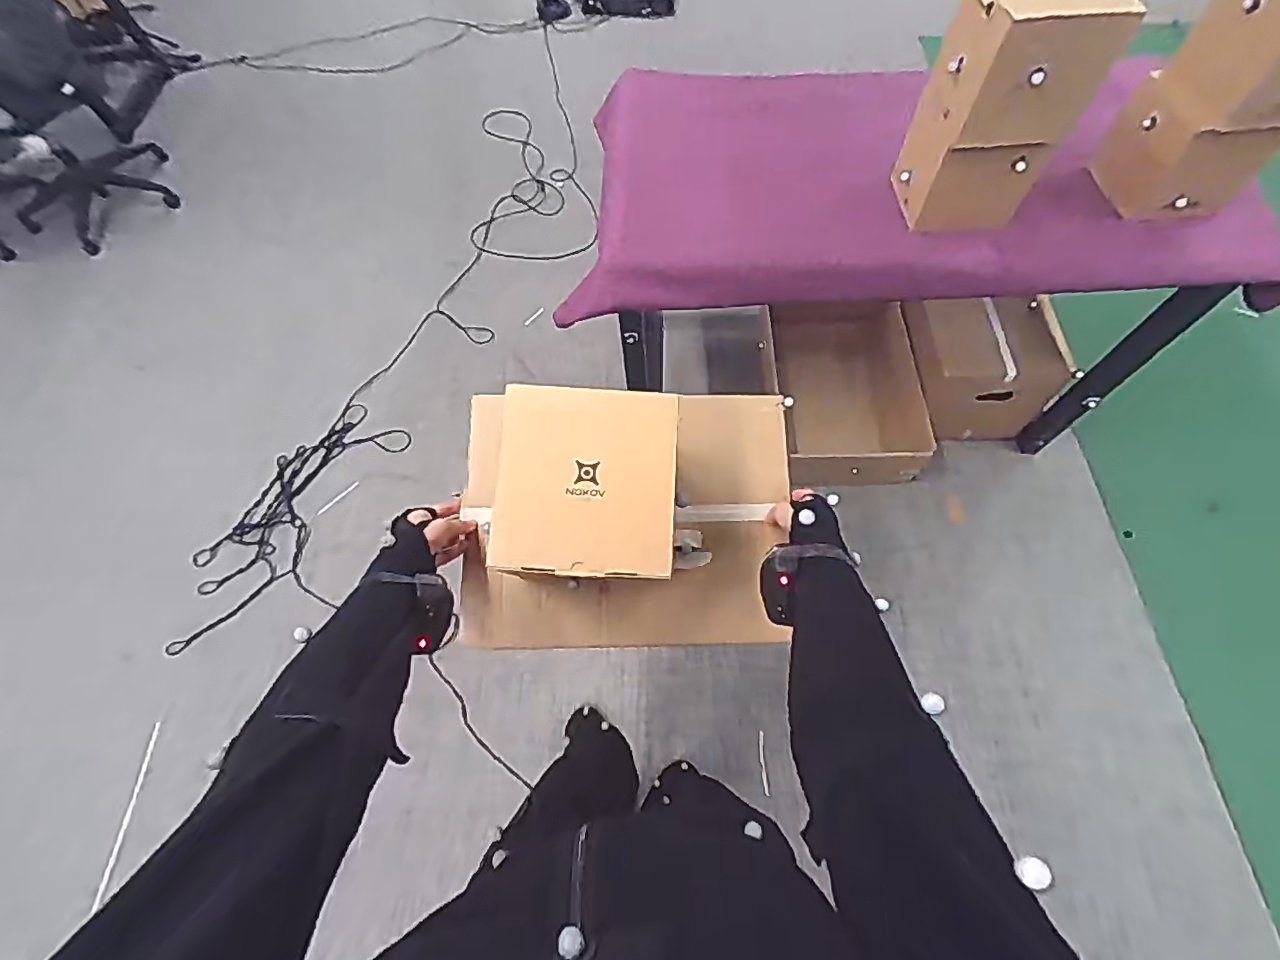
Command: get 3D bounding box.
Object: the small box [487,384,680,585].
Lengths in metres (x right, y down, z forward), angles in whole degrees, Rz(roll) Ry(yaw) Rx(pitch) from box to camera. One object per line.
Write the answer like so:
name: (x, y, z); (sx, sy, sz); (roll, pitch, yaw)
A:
small box: (-0.052, 0.016, 0.569); (0.168, 0.176, 0.179); (3, 78, -2)

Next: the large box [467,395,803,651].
large box: (-0.017, 0.075, 0.808); (0.408, 0.320, 0.320); (-1, 78, -3)

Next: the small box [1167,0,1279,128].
small box: (0.943, -0.650, 0.786); (0.168, 0.176, 0.179); (-4, 62, 4)

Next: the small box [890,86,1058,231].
small box: (0.572, -0.565, 0.954); (0.179, 0.176, 0.168); (-2, 61, 3)

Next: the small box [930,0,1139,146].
small box: (0.557, -0.625, 0.801); (0.179, 0.176, 0.168); (-3, 62, 3)

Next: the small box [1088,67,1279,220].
small box: (0.938, -0.584, 0.937); (0.168, 0.176, 0.179); (-4, 62, 4)
